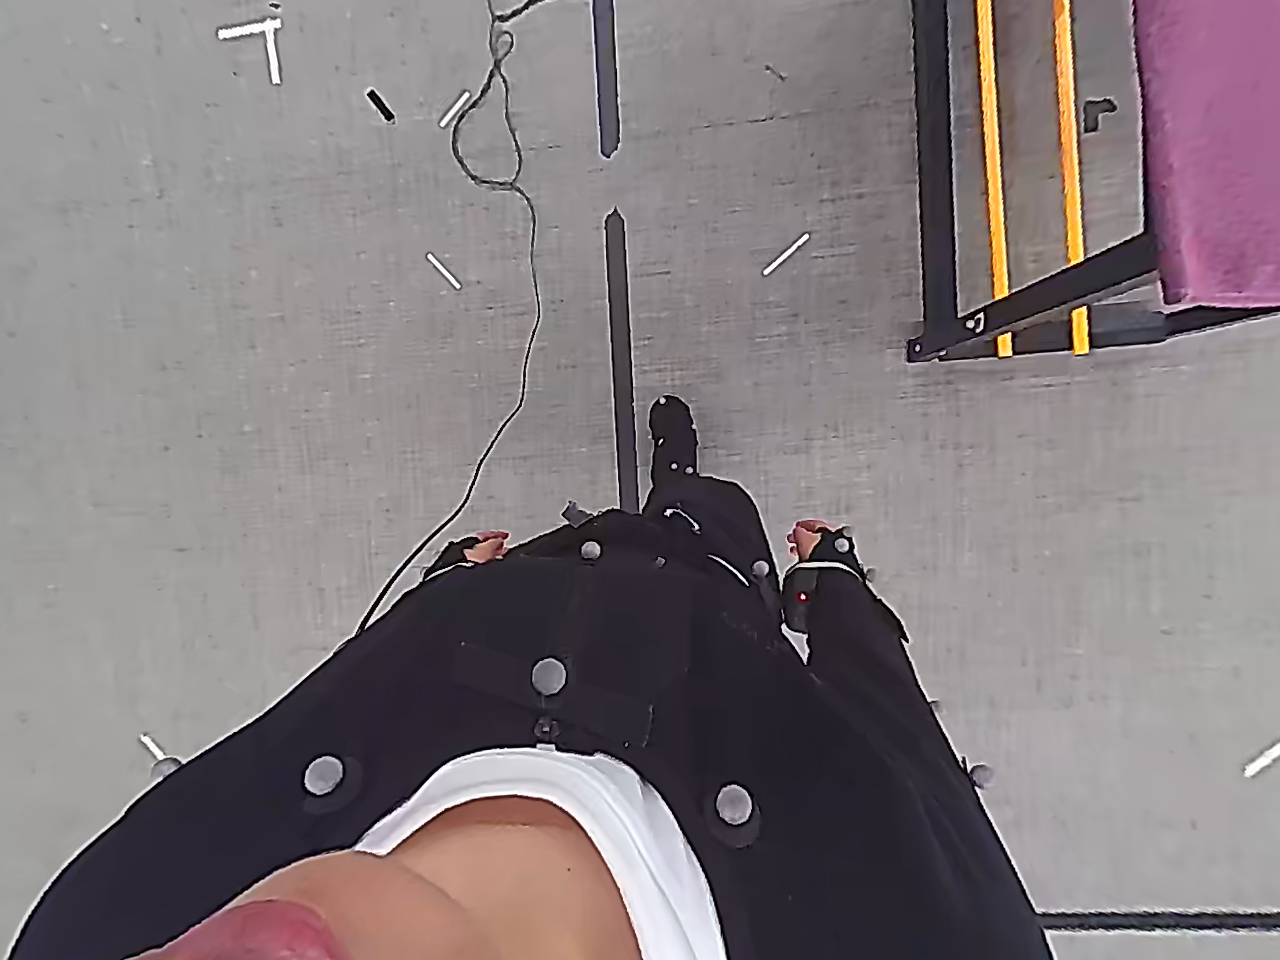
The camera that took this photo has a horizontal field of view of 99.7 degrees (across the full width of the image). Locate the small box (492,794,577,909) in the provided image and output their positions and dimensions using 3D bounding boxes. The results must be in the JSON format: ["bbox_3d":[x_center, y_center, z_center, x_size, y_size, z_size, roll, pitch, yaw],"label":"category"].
[{"bbox_3d":[-0.260,0.932,1.367,0.168,0.176,0.179,-3,92,5],"label":"small box"}]

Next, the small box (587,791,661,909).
[{"bbox_3d":[-0.035,0.913,1.344,0.168,0.176,0.179,-1,92,5],"label":"small box"}]
